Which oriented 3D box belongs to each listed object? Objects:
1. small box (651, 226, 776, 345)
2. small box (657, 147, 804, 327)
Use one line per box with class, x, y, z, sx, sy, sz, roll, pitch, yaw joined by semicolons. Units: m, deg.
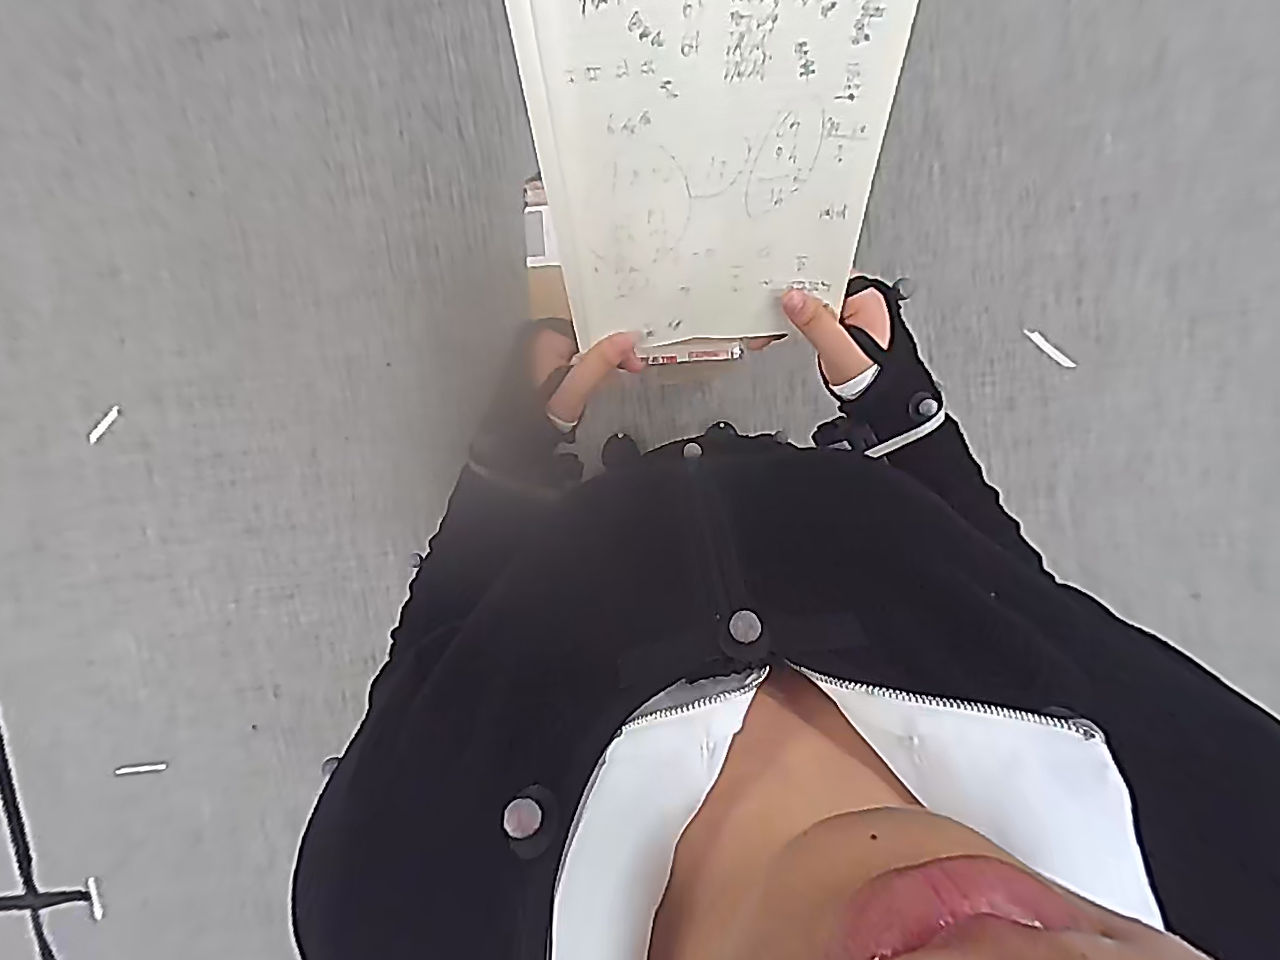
small box;0.116;-0.332;0.917;0.179;0.176;0.168;-9;96;1
small box;0.115;-0.325;0.753;0.168;0.176;0.179;-6;95;-1
